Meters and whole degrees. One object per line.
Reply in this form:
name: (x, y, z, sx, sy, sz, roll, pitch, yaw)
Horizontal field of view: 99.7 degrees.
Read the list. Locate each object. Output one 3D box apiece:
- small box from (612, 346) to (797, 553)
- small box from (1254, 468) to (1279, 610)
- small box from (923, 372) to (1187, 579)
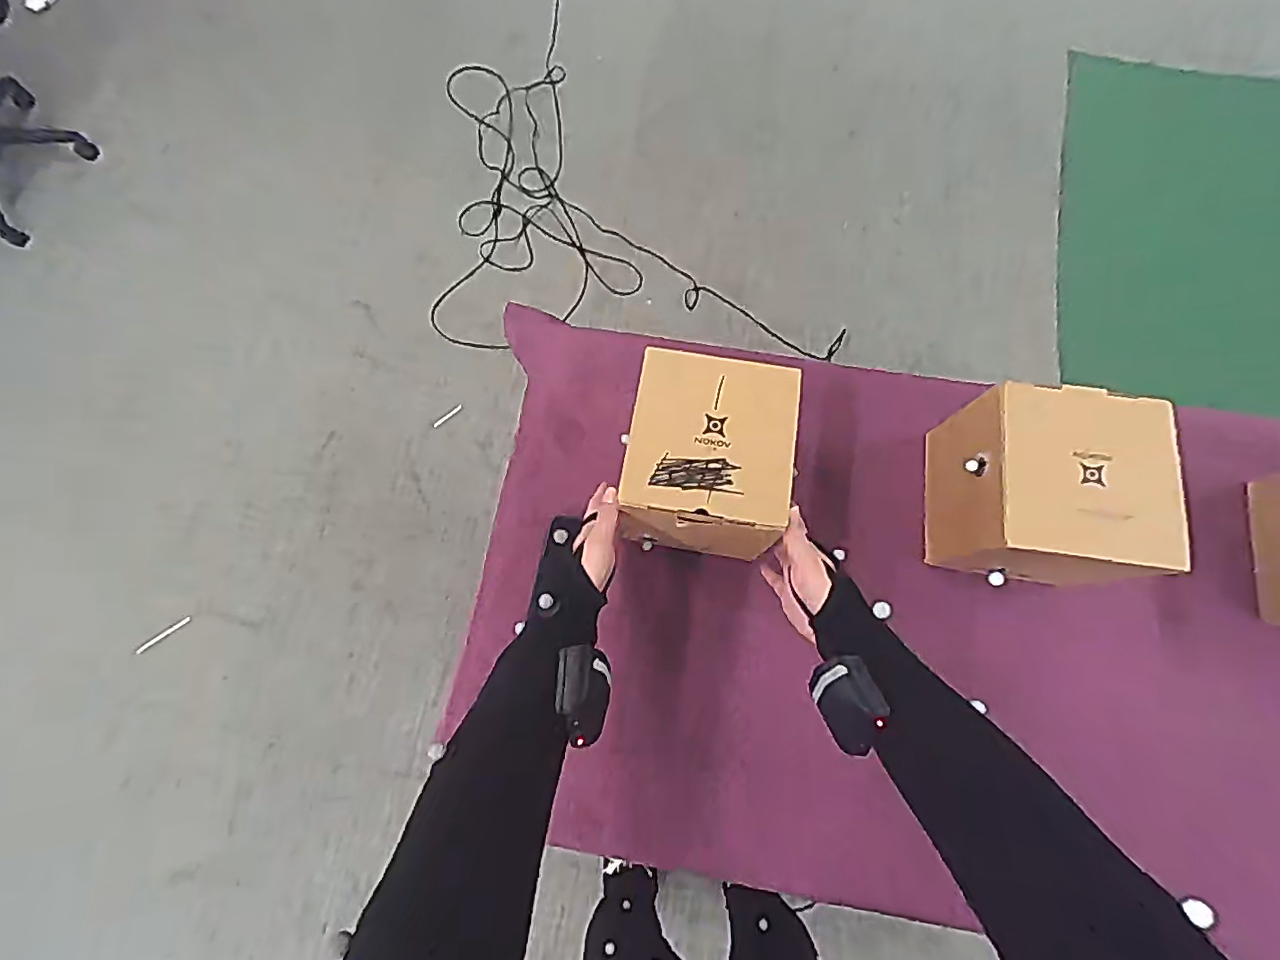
small box: (0.070, -0.023, 0.610, 0.168, 0.176, 0.179, 9, 72, 4)
small box: (0.816, 0.063, 0.566, 0.168, 0.176, 0.179, 10, 75, 5)
small box: (0.433, 0.005, 0.597, 0.168, 0.176, 0.179, 8, 75, 5)
